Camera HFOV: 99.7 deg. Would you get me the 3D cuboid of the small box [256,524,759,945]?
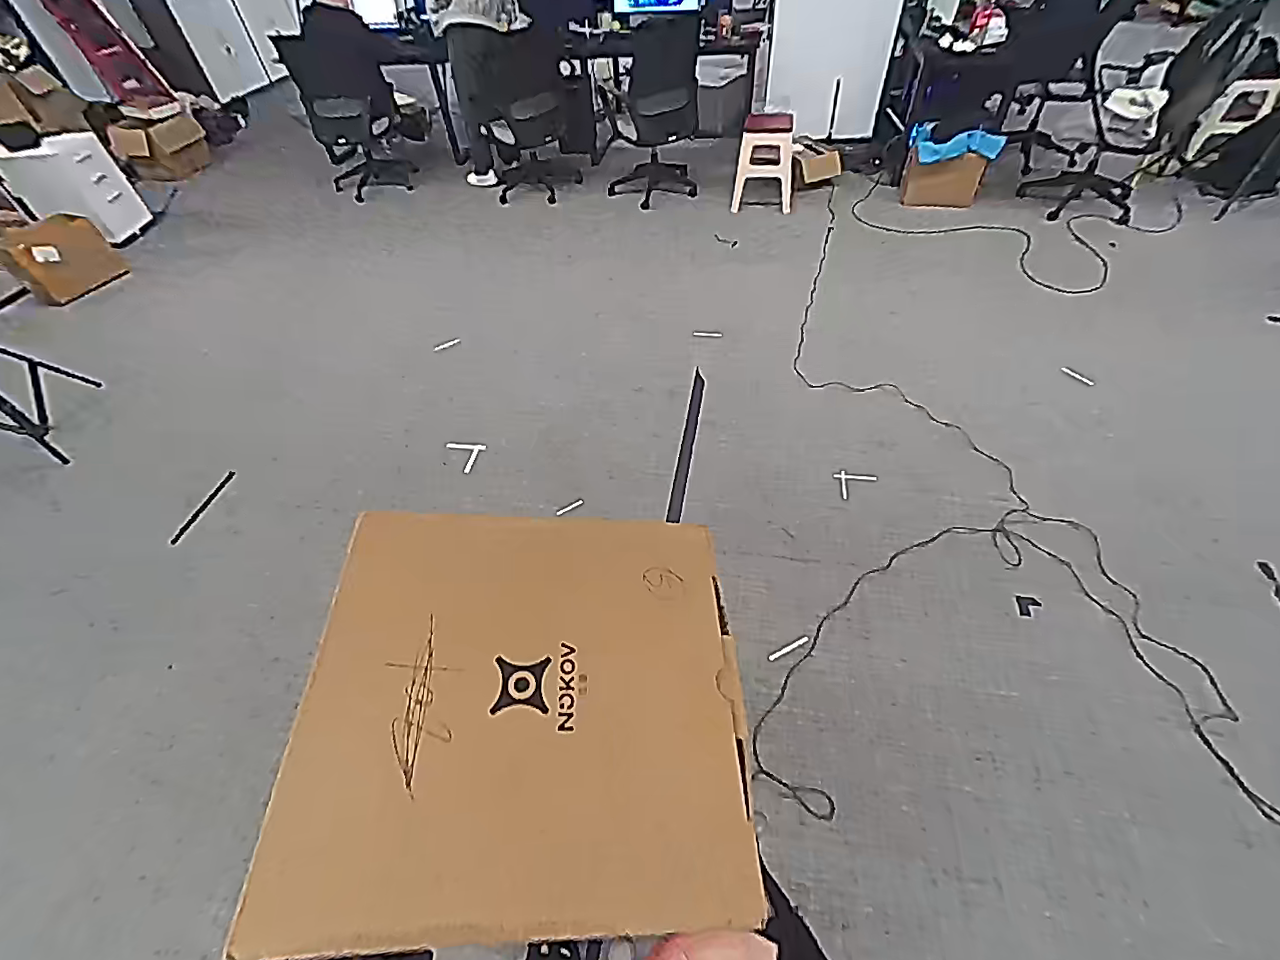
[{"bbox_3d":[-0.055,0.140,0.299,0.179,0.176,0.168,2,51,-7],"label":"small box"}]
